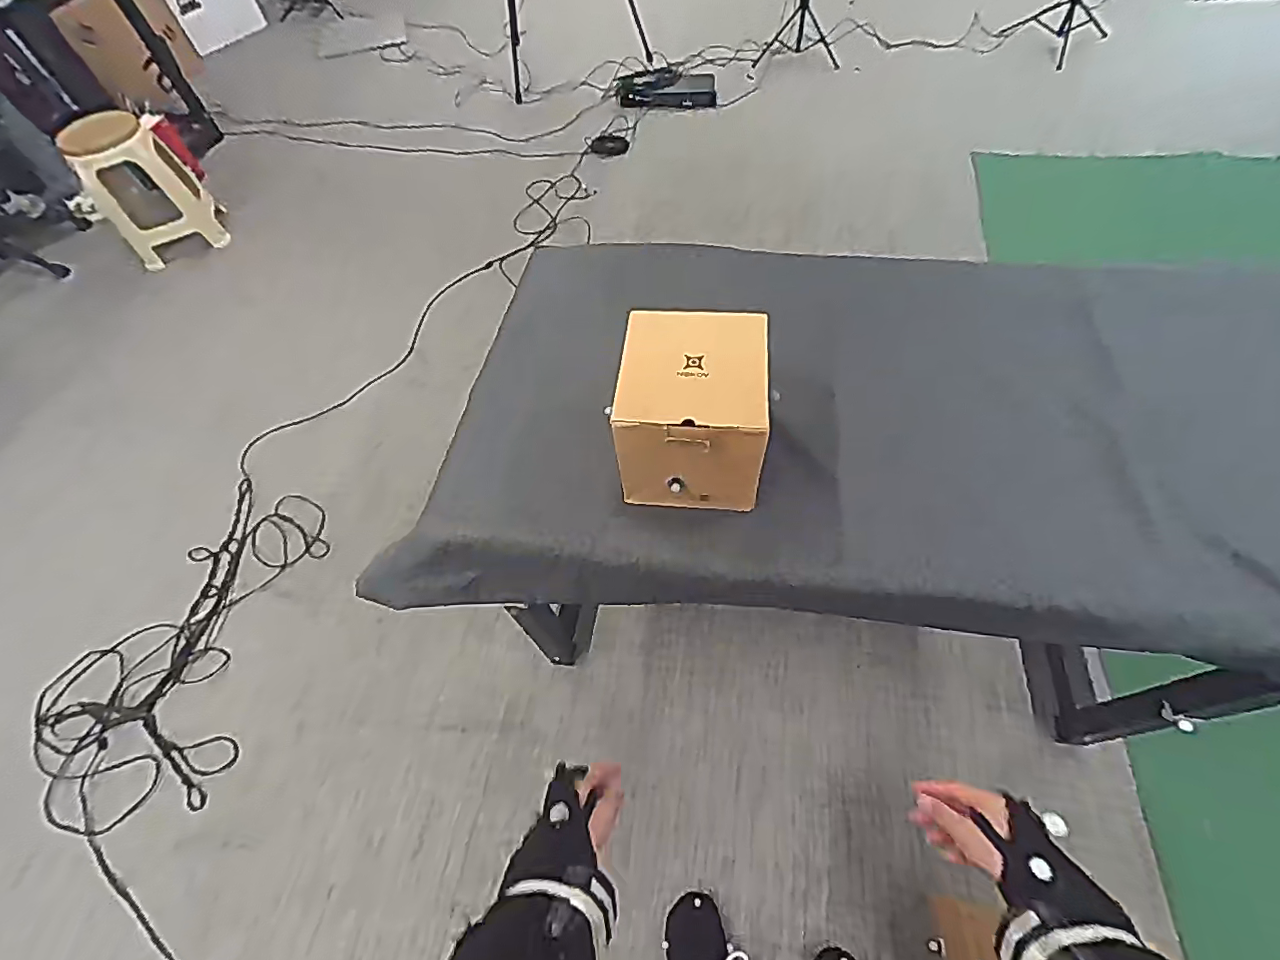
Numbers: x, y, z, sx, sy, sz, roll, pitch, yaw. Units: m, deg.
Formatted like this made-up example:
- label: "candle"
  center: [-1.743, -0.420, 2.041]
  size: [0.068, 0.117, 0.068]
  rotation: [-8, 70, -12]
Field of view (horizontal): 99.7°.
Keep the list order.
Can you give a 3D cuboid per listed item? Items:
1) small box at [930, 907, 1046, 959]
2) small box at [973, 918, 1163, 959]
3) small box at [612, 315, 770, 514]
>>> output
- label: "small box"
  center: [0.617, 0.829, 0.898]
  size: [0.179, 0.176, 0.168]
  rotation: [2, 56, 7]
- label: "small box"
  center: [0.612, 0.738, 0.761]
  size: [0.179, 0.176, 0.168]
  rotation: [2, 56, 7]
- label: "small box"
  center: [0.063, -0.078, 0.664]
  size: [0.168, 0.176, 0.179]
  rotation: [3, 58, 6]
